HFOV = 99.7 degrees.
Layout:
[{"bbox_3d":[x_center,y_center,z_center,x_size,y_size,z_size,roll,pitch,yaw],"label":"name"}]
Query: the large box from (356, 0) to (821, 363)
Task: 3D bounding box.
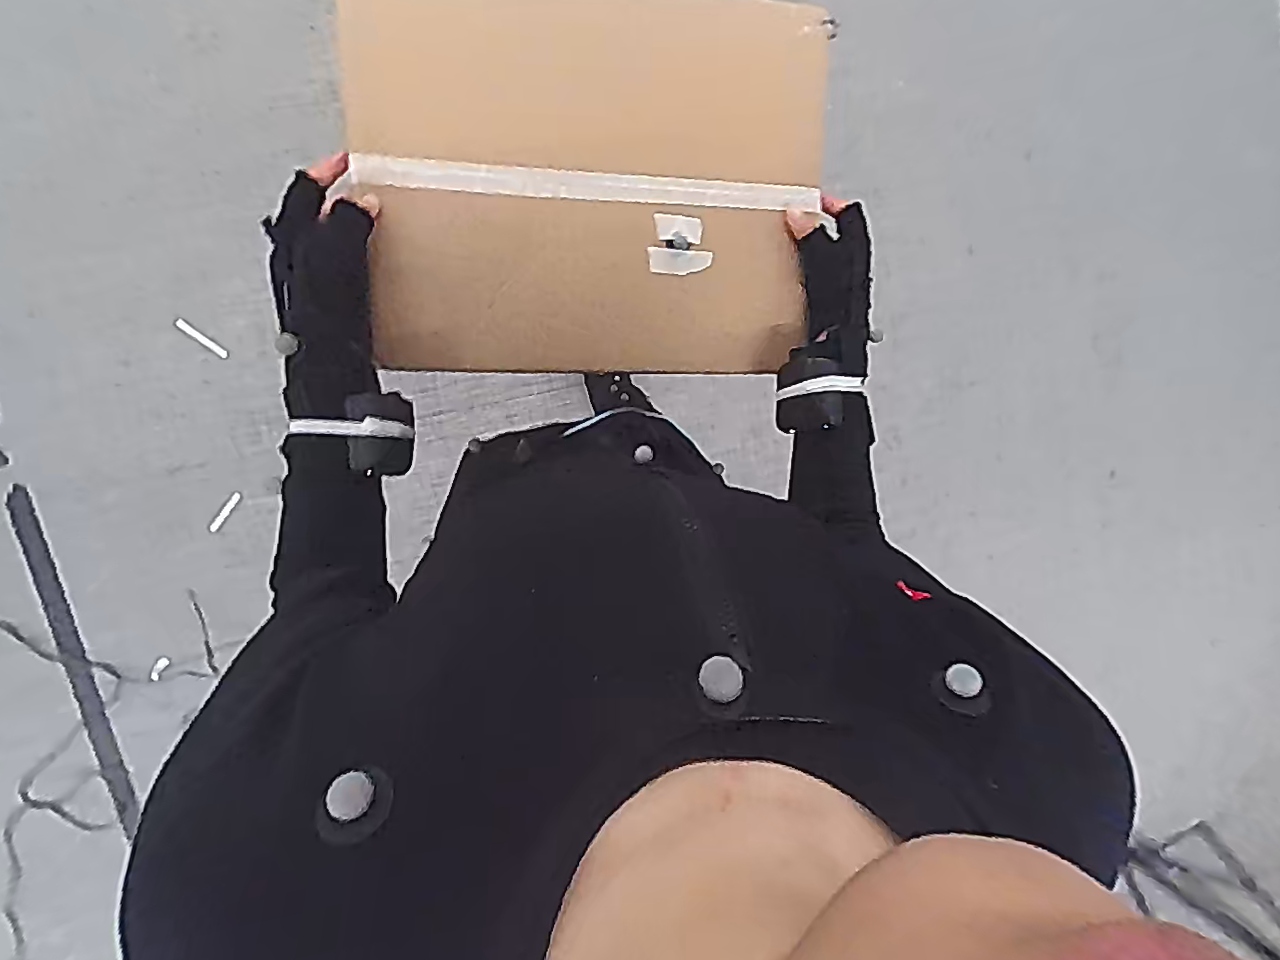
[{"bbox_3d":[-0.060,-0.298,0.627,0.408,0.320,0.320,-2,104,-12],"label":"large box"}]
